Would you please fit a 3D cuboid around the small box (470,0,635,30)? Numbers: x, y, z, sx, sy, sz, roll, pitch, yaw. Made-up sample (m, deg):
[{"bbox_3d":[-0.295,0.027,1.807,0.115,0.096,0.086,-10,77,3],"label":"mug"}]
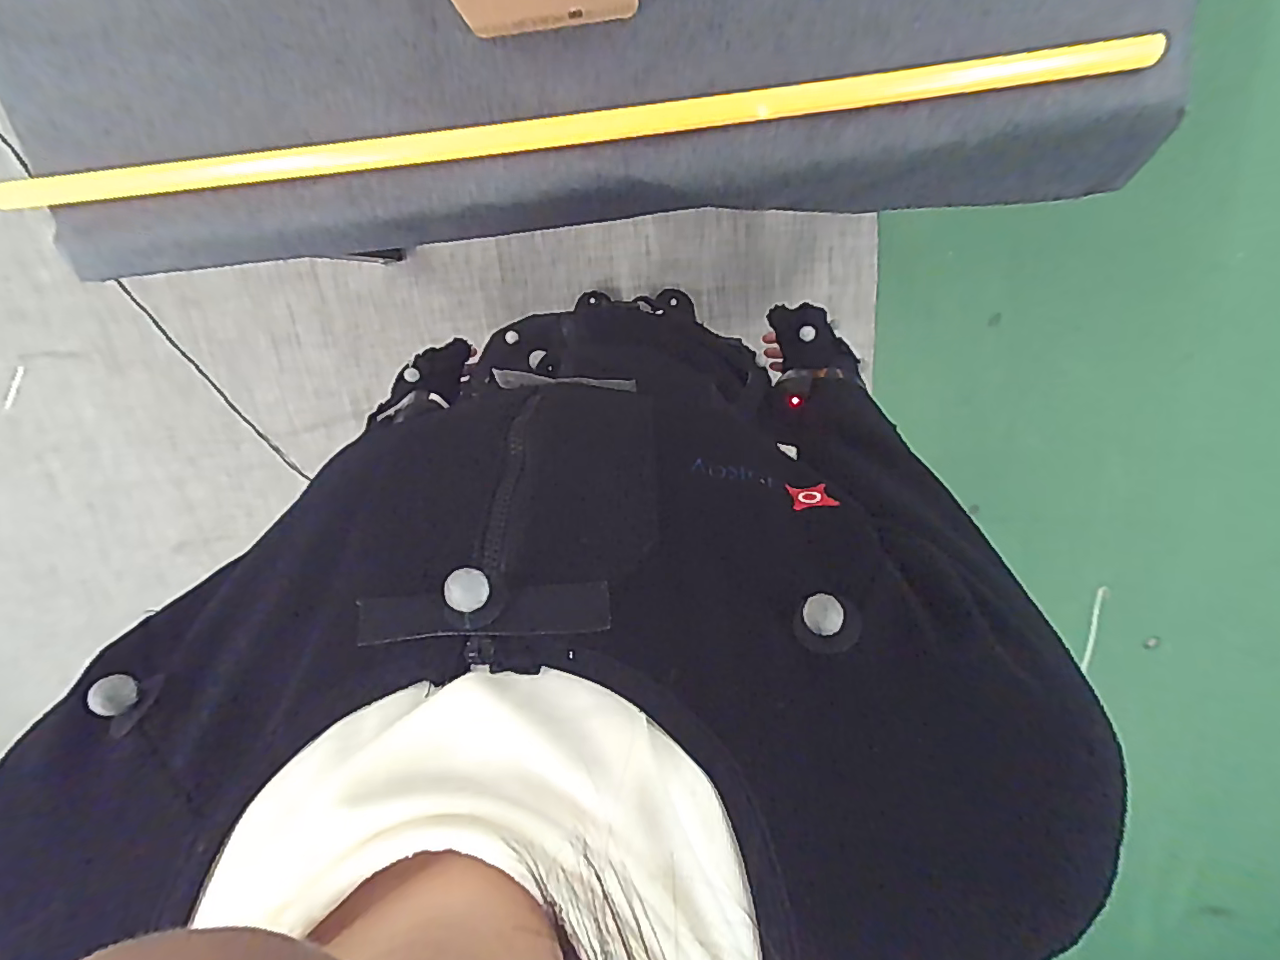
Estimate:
[{"bbox_3d":[-0.093,-0.515,0.437,0.168,0.176,0.179,-5,109,4],"label":"small box"}]
